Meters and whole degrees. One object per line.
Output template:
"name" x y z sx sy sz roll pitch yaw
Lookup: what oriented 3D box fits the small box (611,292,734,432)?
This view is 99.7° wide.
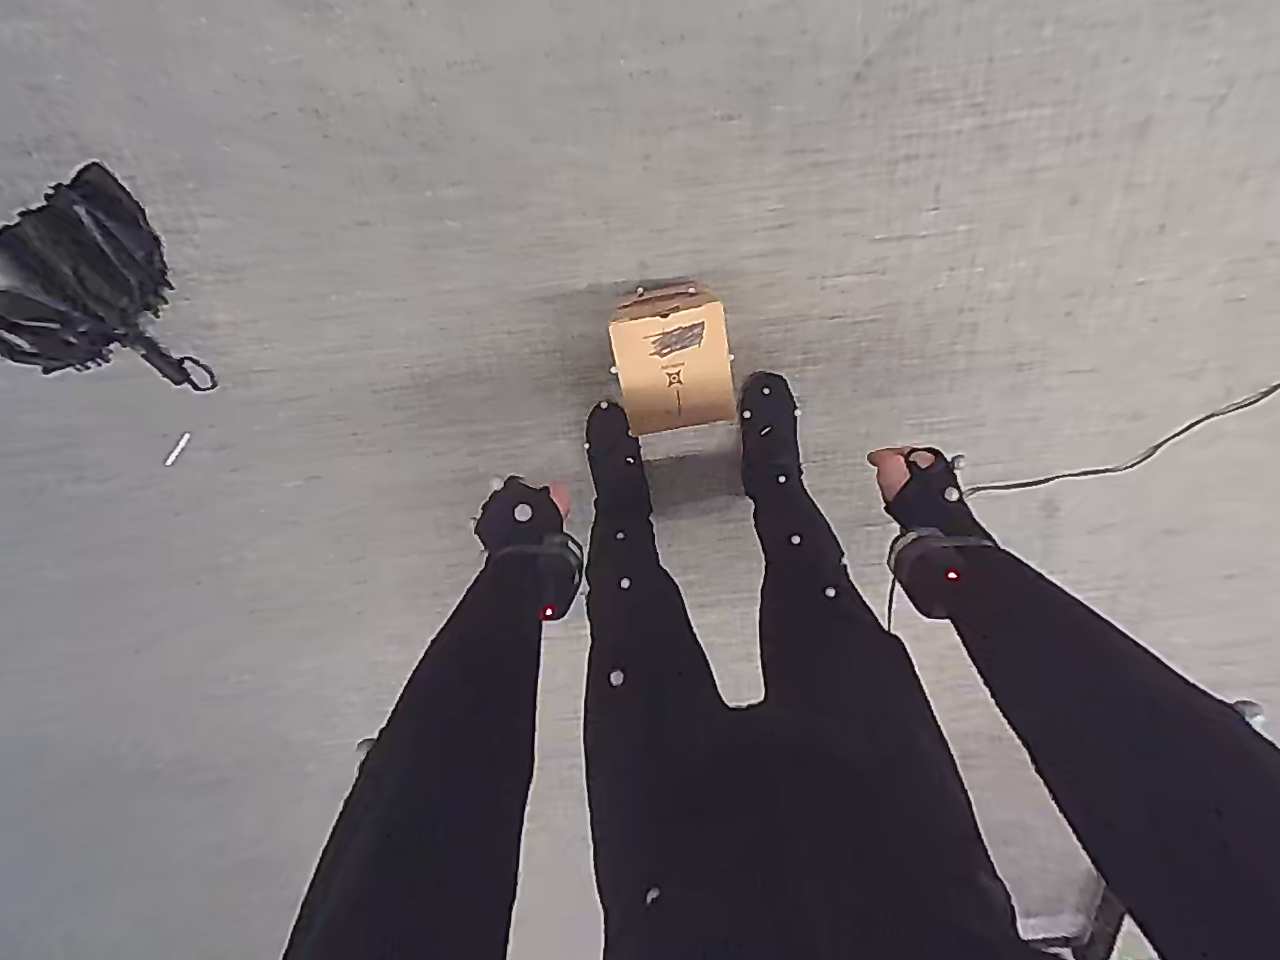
"small box" 0.050 -0.195 0.861 0.168 0.176 0.179 -9 115 5

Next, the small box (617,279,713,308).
"small box" 0.052 -0.270 1.008 0.168 0.176 0.179 -8 116 5
